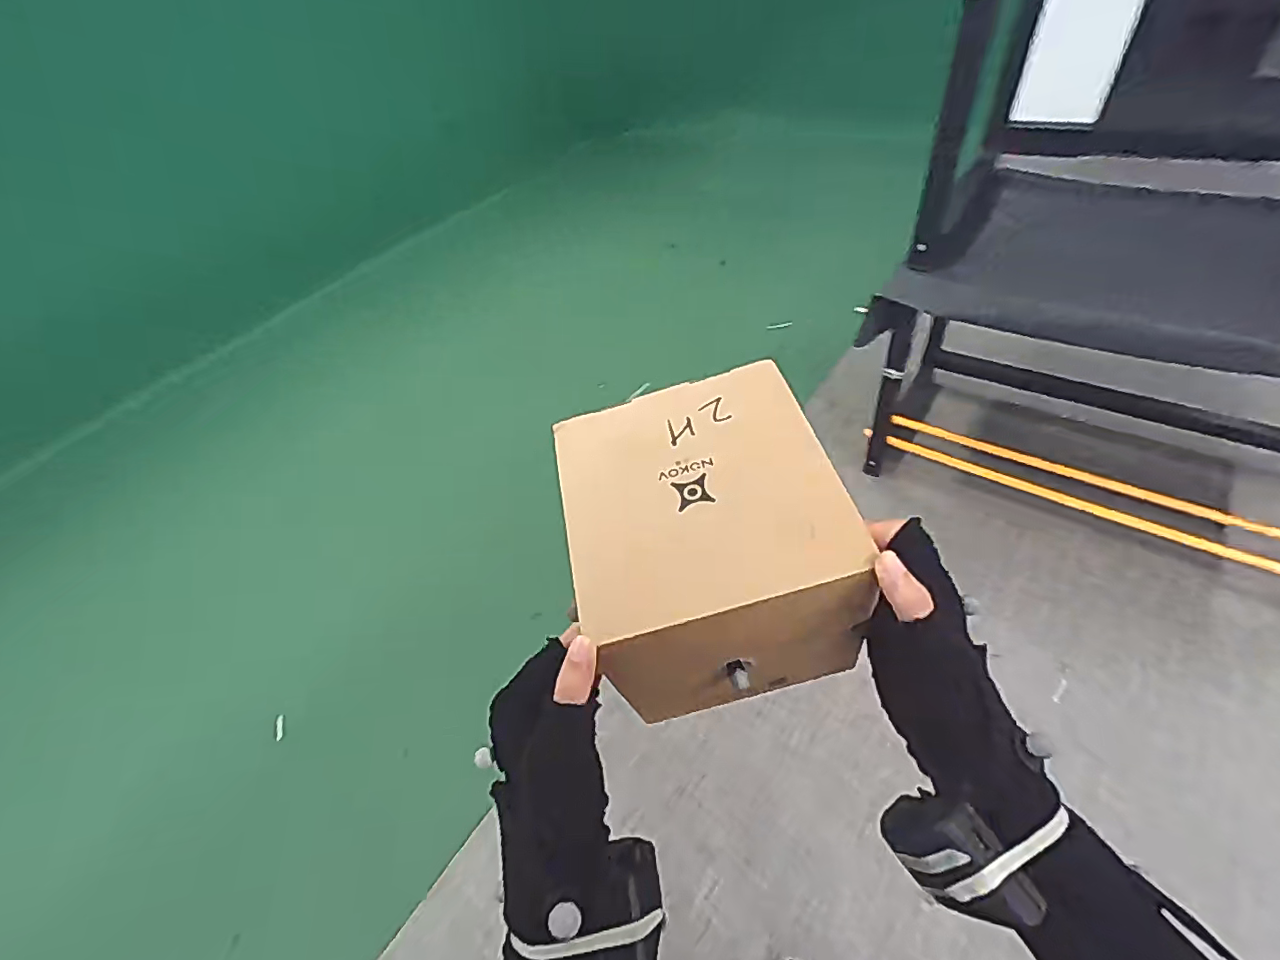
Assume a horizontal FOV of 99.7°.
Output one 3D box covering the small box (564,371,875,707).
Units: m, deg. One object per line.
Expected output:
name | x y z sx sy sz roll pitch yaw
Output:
small box | 0.052 0.054 0.406 0.168 0.176 0.179 -15 51 2
